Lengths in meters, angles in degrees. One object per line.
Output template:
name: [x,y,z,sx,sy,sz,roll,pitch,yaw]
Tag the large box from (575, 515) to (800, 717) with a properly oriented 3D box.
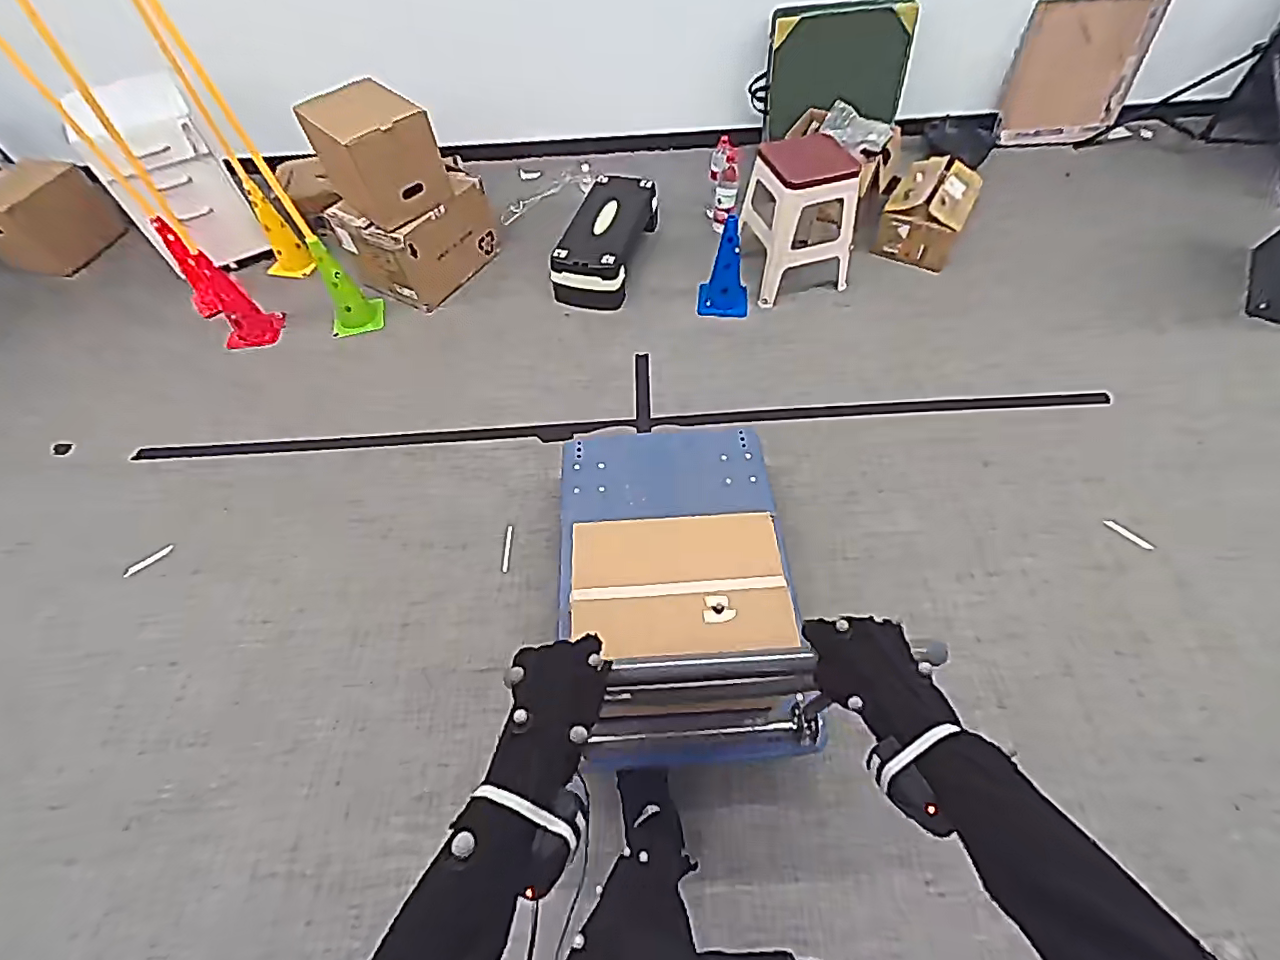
large box: [0.076,0.297,1.154,0.408,0.320,0.320,-3,56,-2]
